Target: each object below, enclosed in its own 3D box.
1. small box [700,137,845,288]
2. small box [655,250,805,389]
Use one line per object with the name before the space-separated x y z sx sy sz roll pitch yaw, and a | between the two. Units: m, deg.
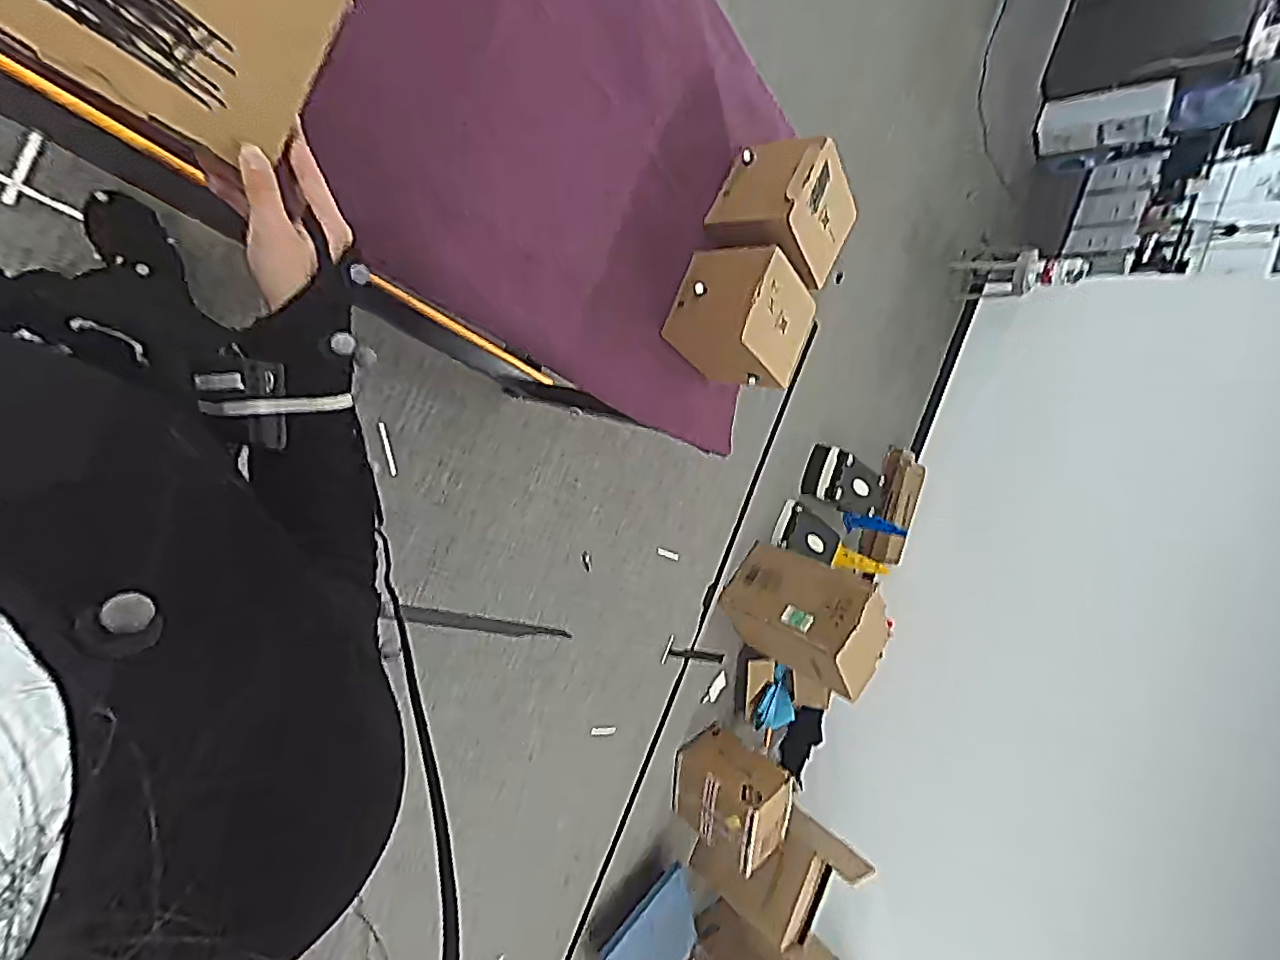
small box | 0.235 -0.466 0.967 0.179 0.176 0.168 36 79 -48
small box | 0.159 -0.281 0.954 0.179 0.176 0.168 29 81 -47
